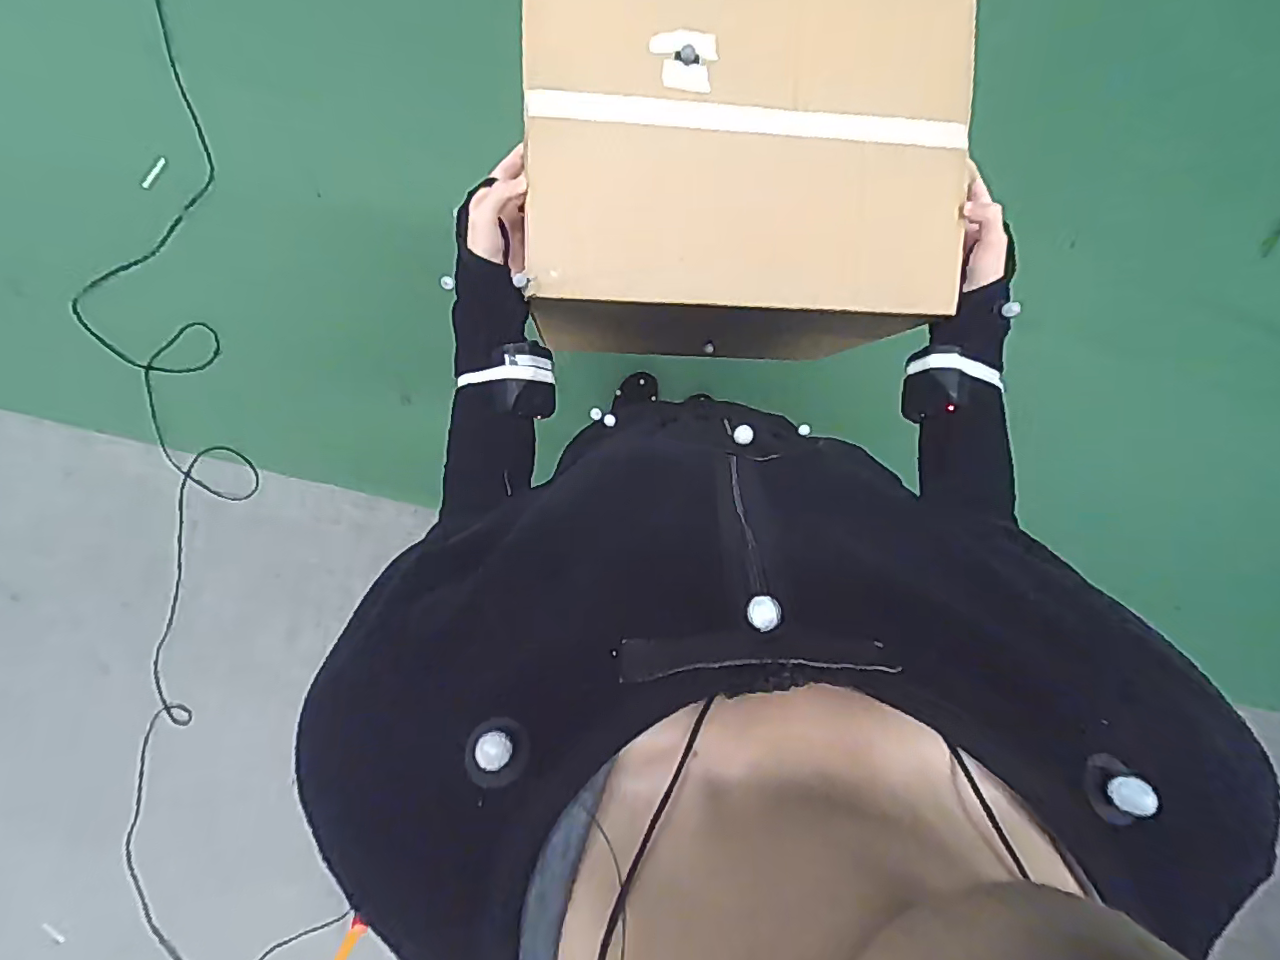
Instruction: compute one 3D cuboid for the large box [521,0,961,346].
[{"bbox_3d":[0.083,-0.334,0.637,0.408,0.320,0.320,0,95,-5],"label":"large box"}]
